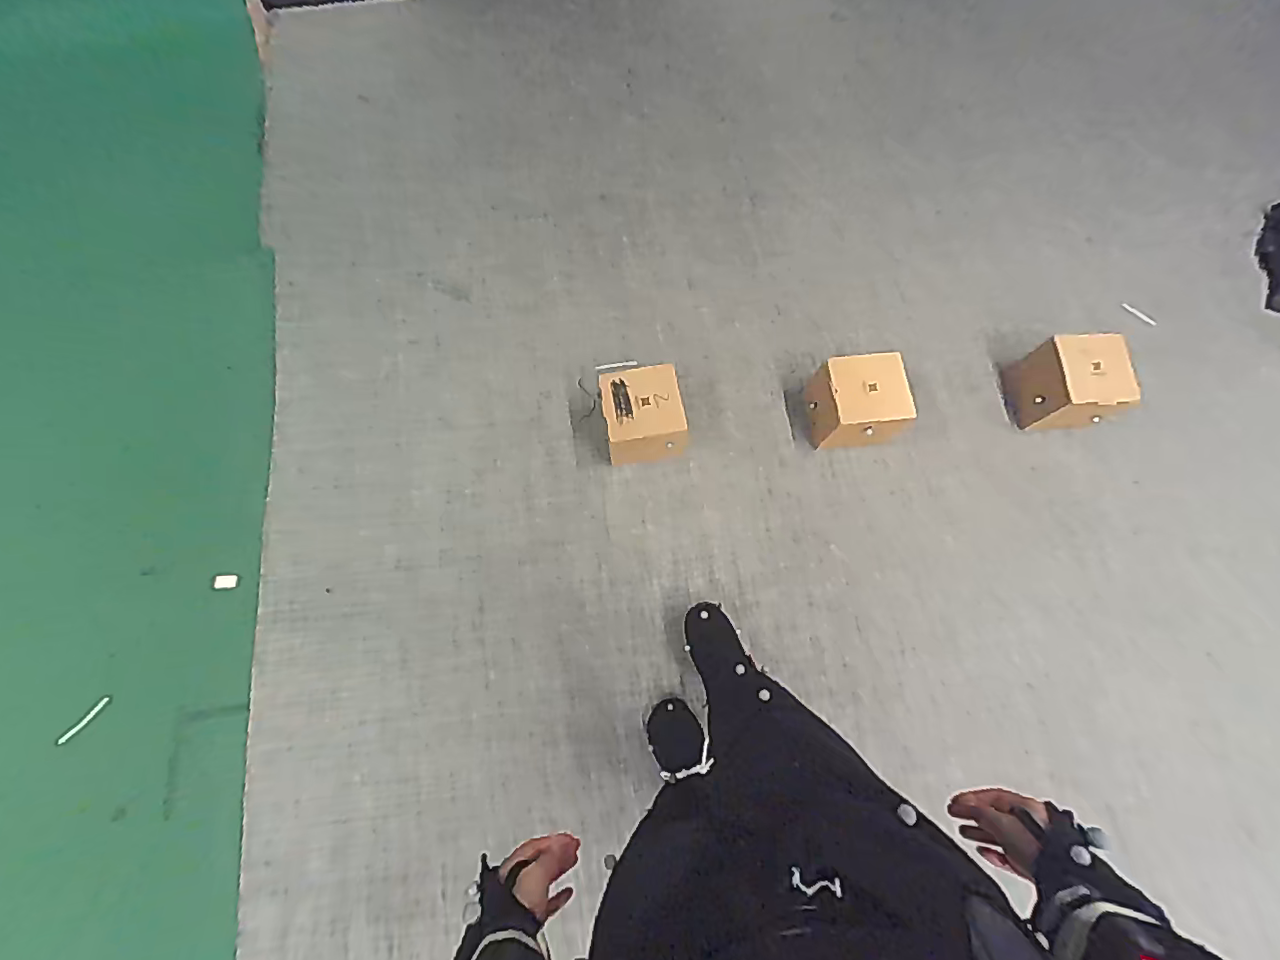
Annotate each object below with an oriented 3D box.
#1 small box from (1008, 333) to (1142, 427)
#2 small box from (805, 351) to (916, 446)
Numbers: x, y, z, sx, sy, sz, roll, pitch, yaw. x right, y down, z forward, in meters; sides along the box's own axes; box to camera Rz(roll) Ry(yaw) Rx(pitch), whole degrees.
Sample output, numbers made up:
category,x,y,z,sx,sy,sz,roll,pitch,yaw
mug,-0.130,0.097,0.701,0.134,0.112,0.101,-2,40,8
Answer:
category,x,y,z,sx,sy,sz,roll,pitch,yaw
small box,1.034,-0.233,1.302,0.168,0.176,0.179,-1,73,-3
small box,0.513,-0.188,1.281,0.179,0.176,0.168,-6,74,-2
